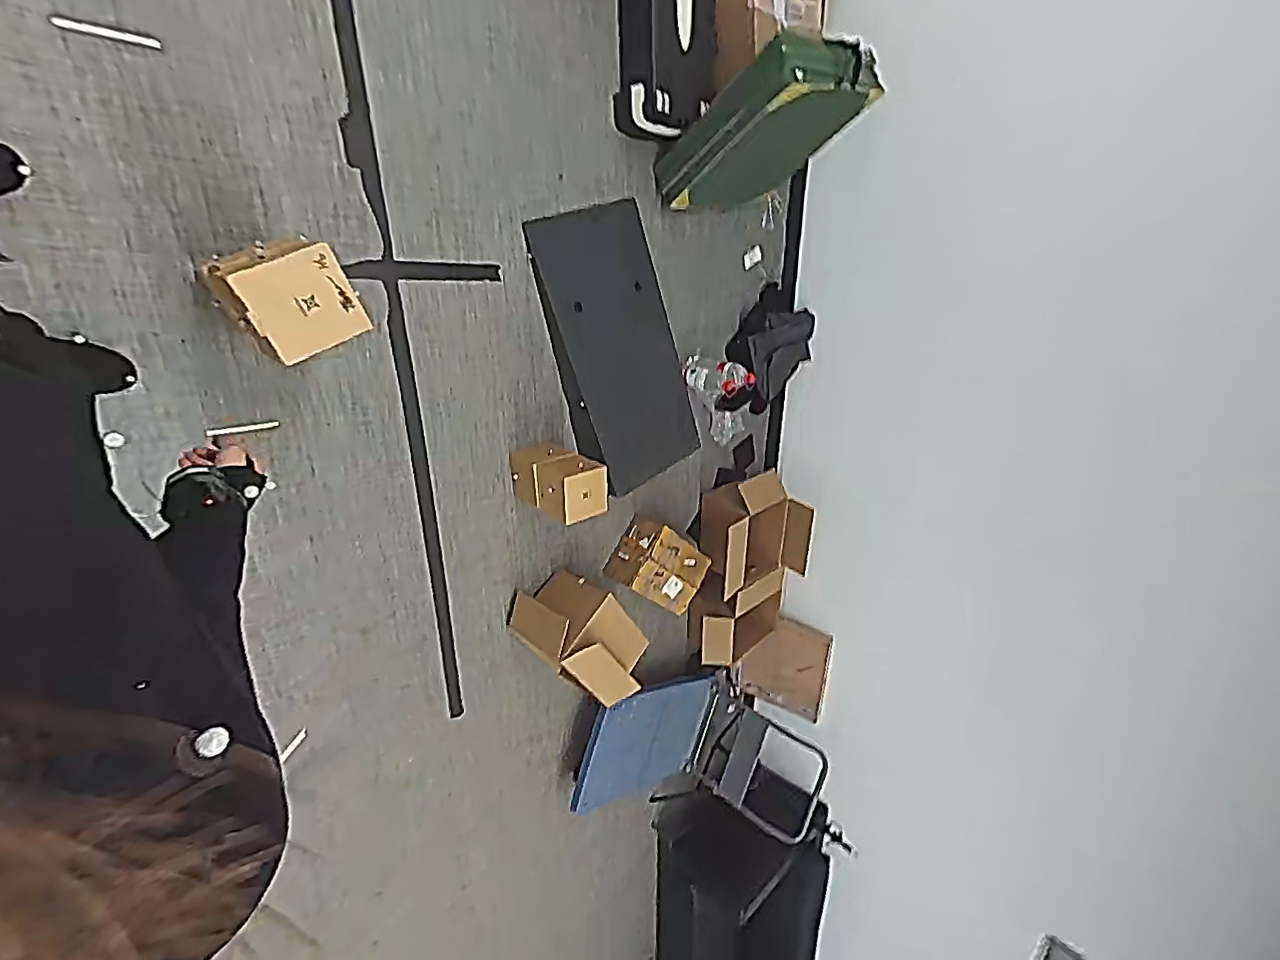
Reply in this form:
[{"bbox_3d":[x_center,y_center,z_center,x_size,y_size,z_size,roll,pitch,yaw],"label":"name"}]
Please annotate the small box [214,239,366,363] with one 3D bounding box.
[{"bbox_3d":[-0.663,-0.340,1.020,0.179,0.176,0.168,-38,130,-28],"label":"small box"}]
